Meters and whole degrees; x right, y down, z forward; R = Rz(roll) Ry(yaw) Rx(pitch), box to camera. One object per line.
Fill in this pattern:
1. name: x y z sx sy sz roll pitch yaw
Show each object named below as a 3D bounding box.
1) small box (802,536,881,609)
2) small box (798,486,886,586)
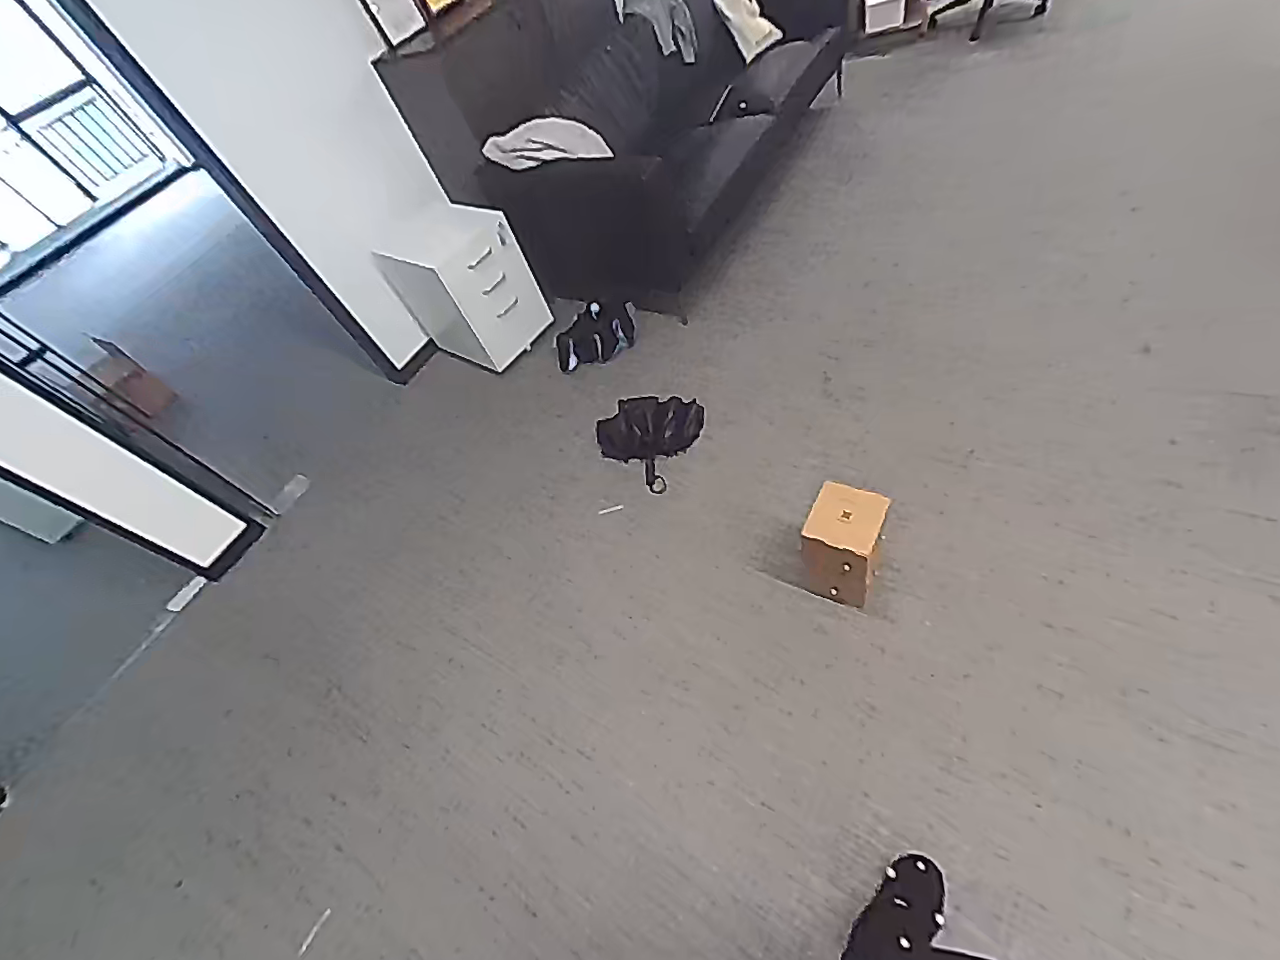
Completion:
1. small box: 0.571 0.239 1.530 0.168 0.176 0.179 16 62 28
2. small box: 0.524 0.148 1.404 0.168 0.176 0.179 18 61 28
